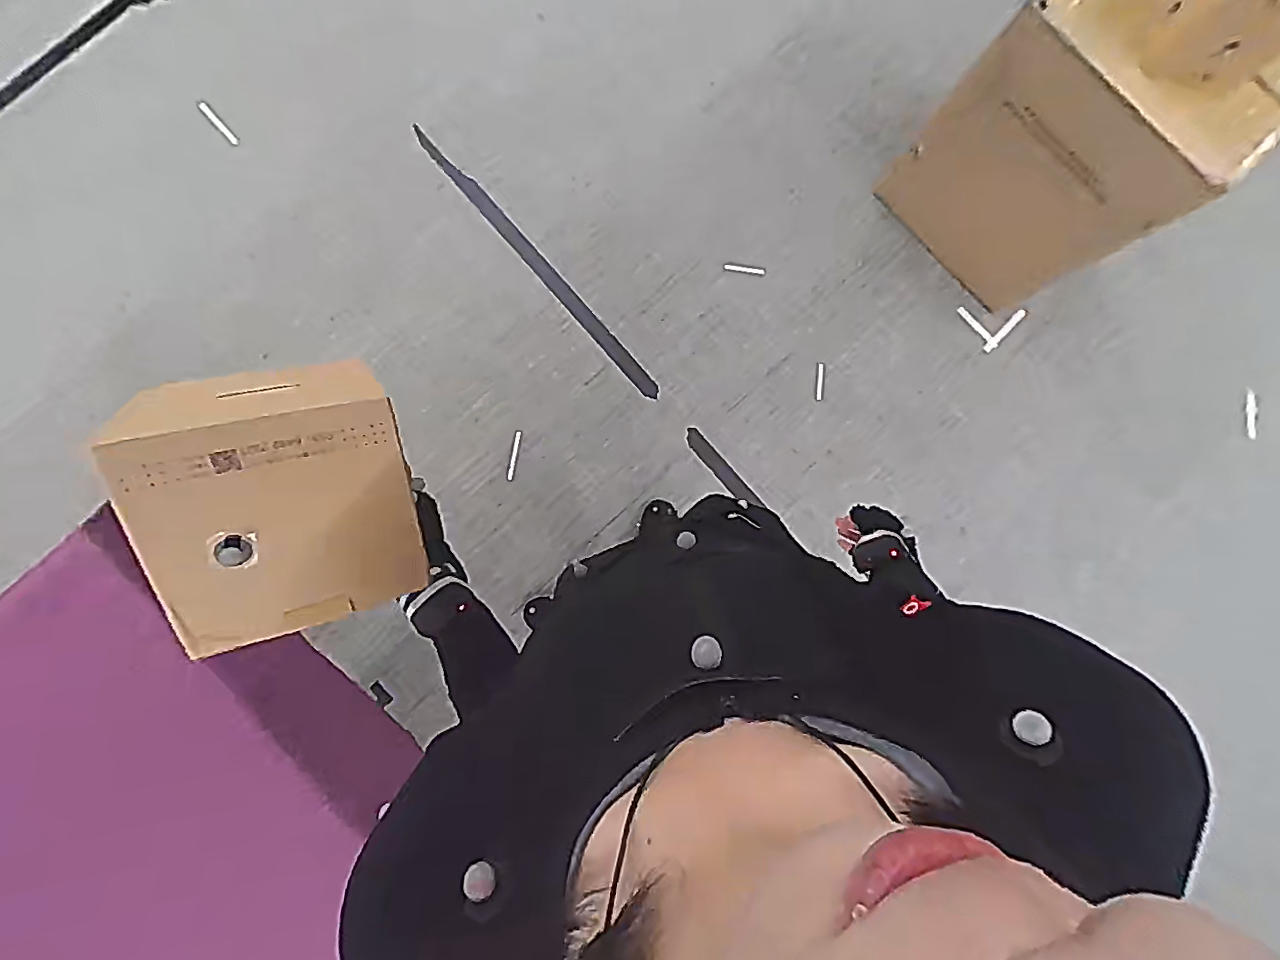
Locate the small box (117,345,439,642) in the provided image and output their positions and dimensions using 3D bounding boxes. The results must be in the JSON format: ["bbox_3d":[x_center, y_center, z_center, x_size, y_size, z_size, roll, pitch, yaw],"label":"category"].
[{"bbox_3d":[-0.280,-0.007,0.448,0.168,0.179,0.176,-13,118,-26],"label":"small box"}]
